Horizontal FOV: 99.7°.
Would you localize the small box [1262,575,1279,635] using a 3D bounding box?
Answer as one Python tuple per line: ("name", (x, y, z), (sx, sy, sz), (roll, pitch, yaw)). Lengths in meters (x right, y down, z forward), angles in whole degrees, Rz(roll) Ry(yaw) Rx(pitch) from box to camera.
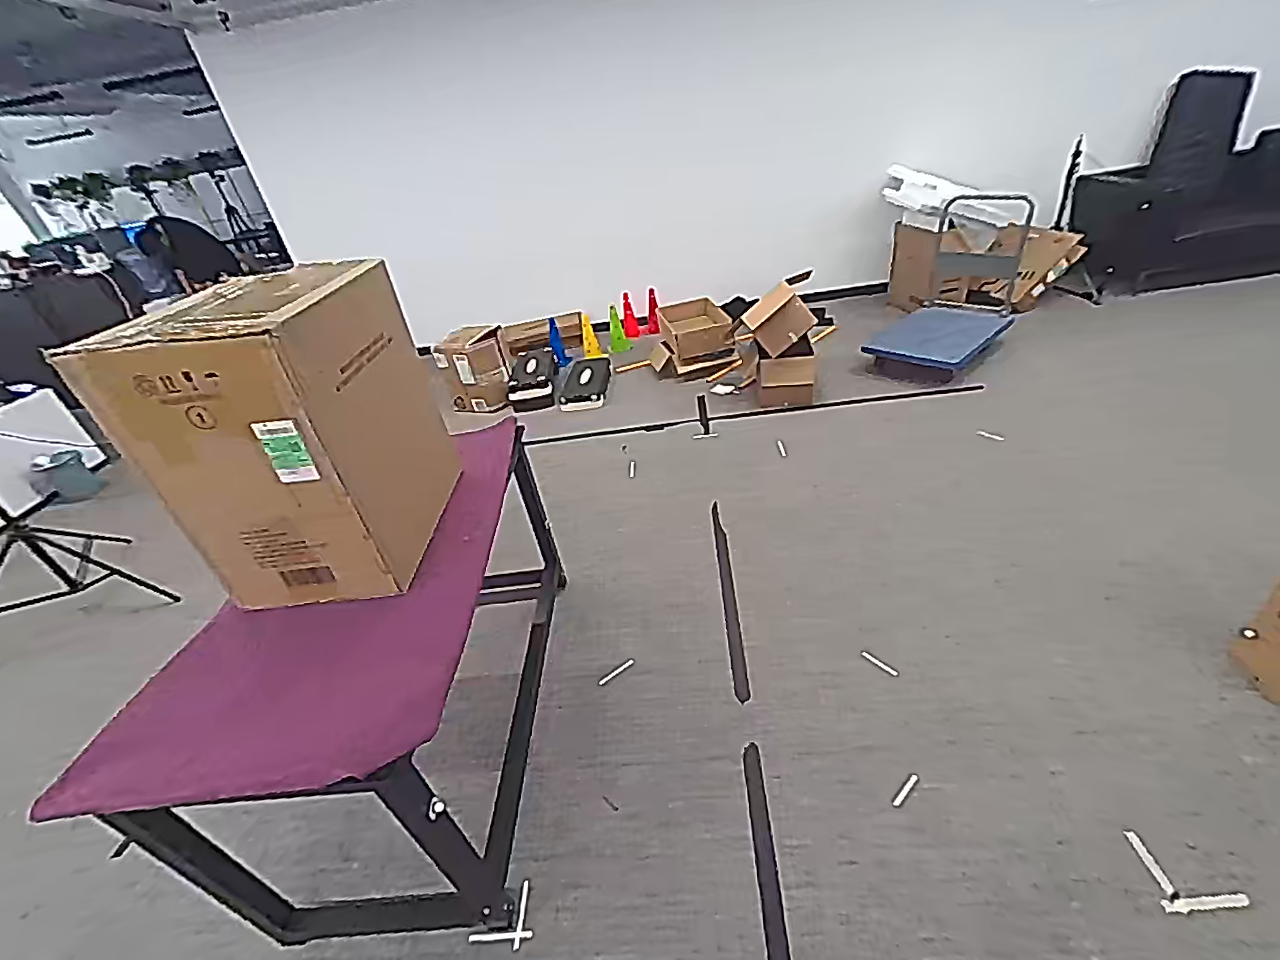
("small box", (1.779, 0.350, 1.387), (0.179, 0.176, 0.168), (-2, 34, 11))
